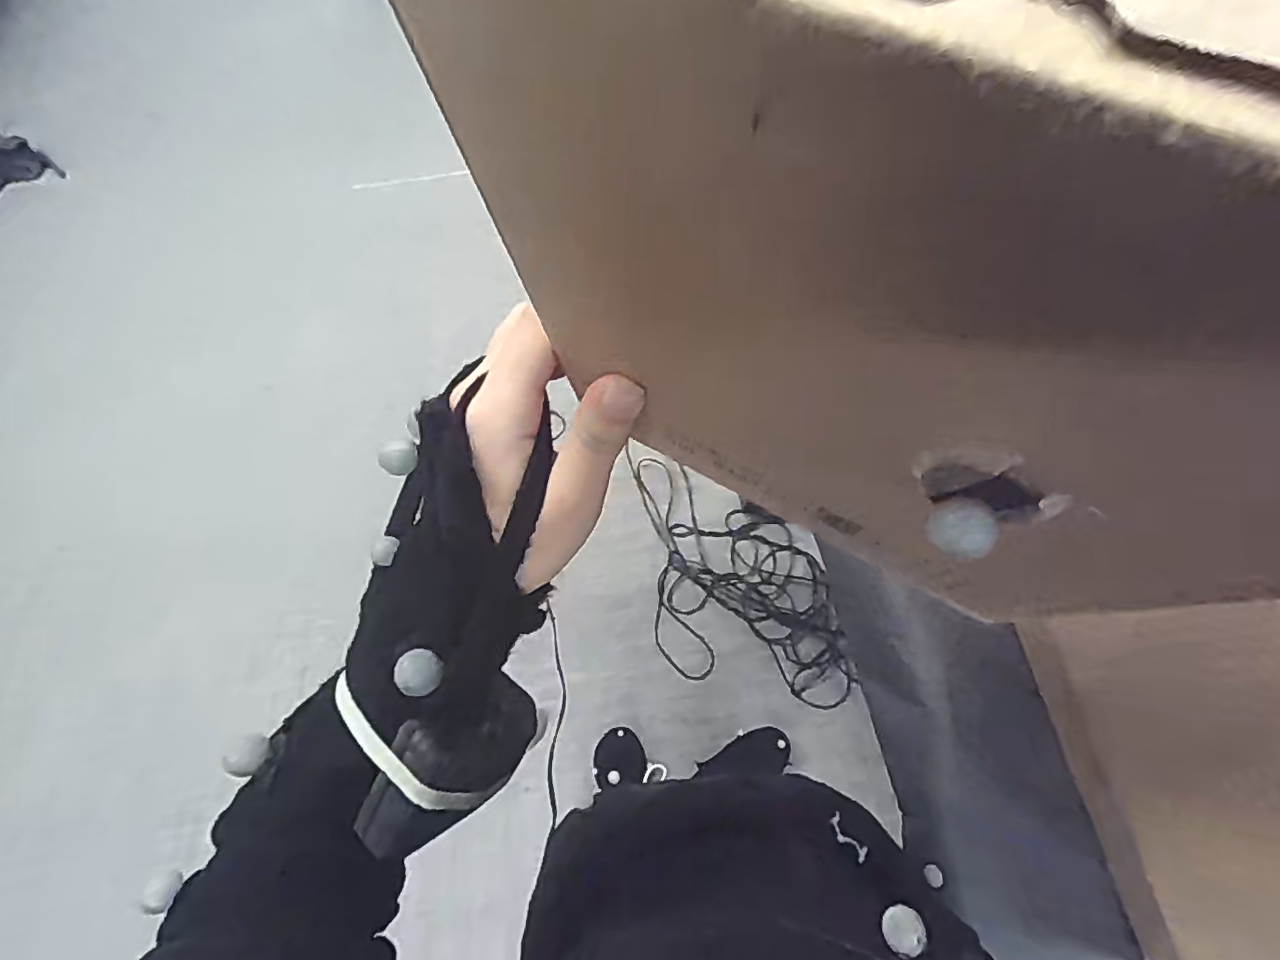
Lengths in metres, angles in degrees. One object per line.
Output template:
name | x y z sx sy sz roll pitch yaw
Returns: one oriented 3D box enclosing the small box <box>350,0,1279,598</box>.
small box | 0.076 -0.086 0.138 0.168 0.176 0.179 29 77 12
